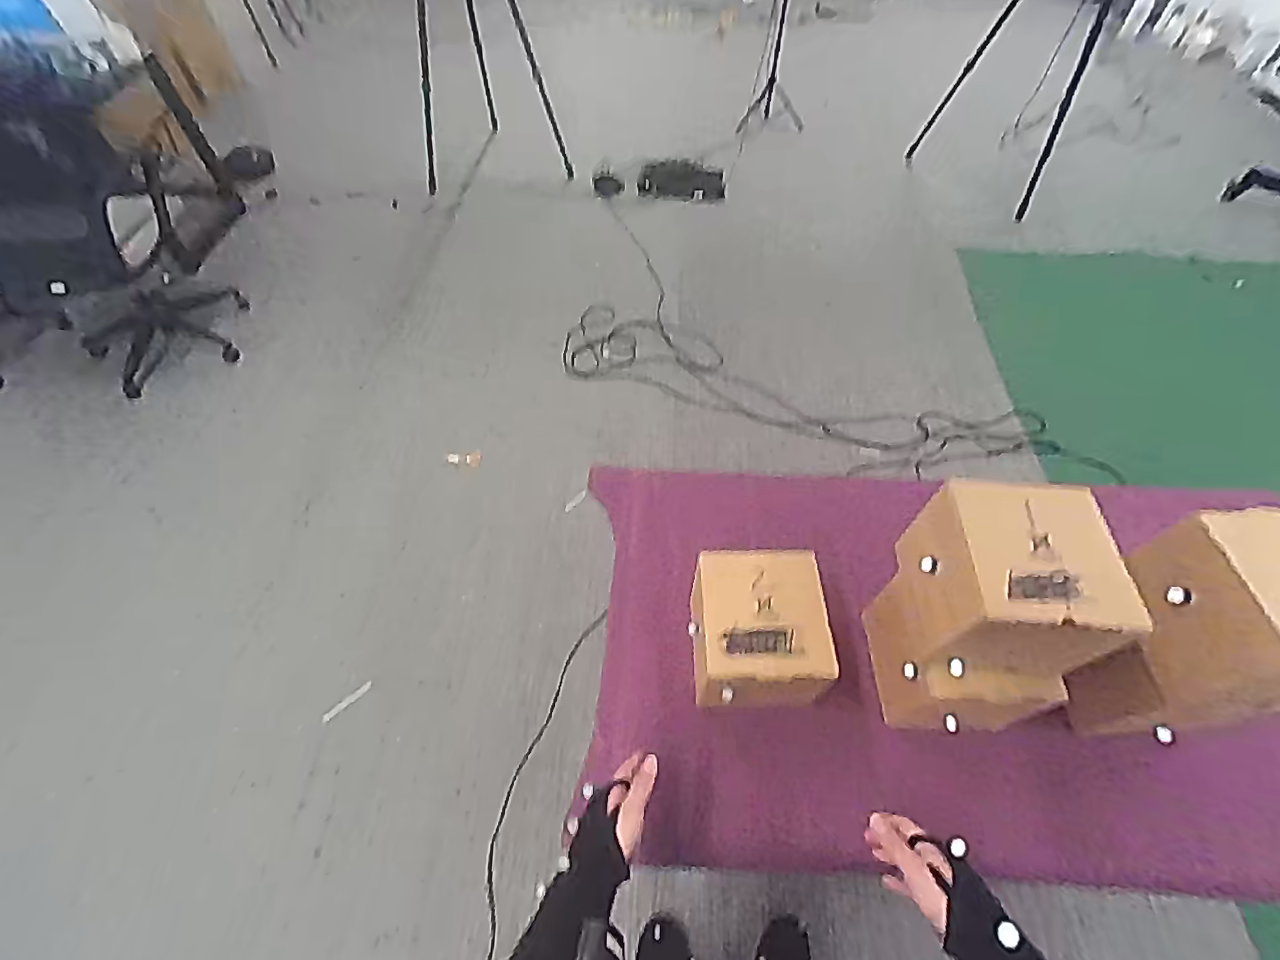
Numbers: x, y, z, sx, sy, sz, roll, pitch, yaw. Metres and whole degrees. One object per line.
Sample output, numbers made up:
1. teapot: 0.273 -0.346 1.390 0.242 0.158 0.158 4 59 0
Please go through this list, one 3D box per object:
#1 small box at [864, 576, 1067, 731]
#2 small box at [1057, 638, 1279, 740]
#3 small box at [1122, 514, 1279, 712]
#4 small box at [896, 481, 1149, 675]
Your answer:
1. small box: 0.439 0.244 0.769 0.168 0.176 0.179 1 55 0
2. small box: 0.704 0.253 0.761 0.168 0.176 0.179 0 54 0
3. small box: 0.705 0.156 0.628 0.168 0.176 0.179 -1 54 0
4. small box: 0.434 0.123 0.654 0.168 0.176 0.179 5 54 3
